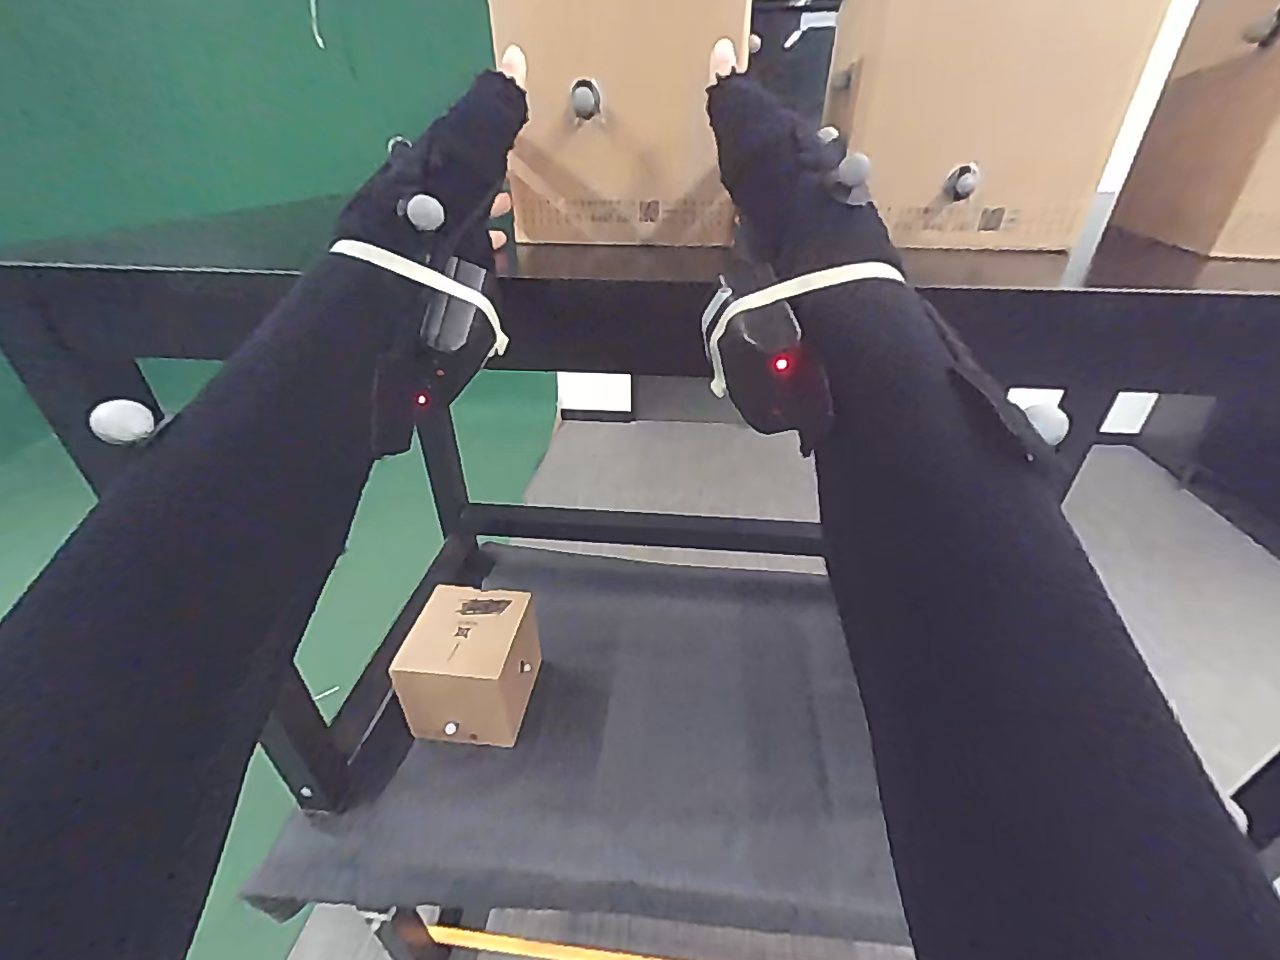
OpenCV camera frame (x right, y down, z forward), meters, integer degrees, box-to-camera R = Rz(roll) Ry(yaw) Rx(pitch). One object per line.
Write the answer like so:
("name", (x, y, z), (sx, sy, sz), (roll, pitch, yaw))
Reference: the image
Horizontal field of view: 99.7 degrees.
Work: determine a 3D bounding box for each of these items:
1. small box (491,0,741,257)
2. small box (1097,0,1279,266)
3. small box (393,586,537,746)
("small box", (-0.005, -0.287, 0.450), (0.168, 0.176, 0.179), (4, 32, 5))
("small box", (0.475, -0.246, 0.376), (0.168, 0.176, 0.179), (10, 33, 15))
("small box", (-0.270, 0.299, 0.884), (0.168, 0.176, 0.179), (3, 32, 5))
